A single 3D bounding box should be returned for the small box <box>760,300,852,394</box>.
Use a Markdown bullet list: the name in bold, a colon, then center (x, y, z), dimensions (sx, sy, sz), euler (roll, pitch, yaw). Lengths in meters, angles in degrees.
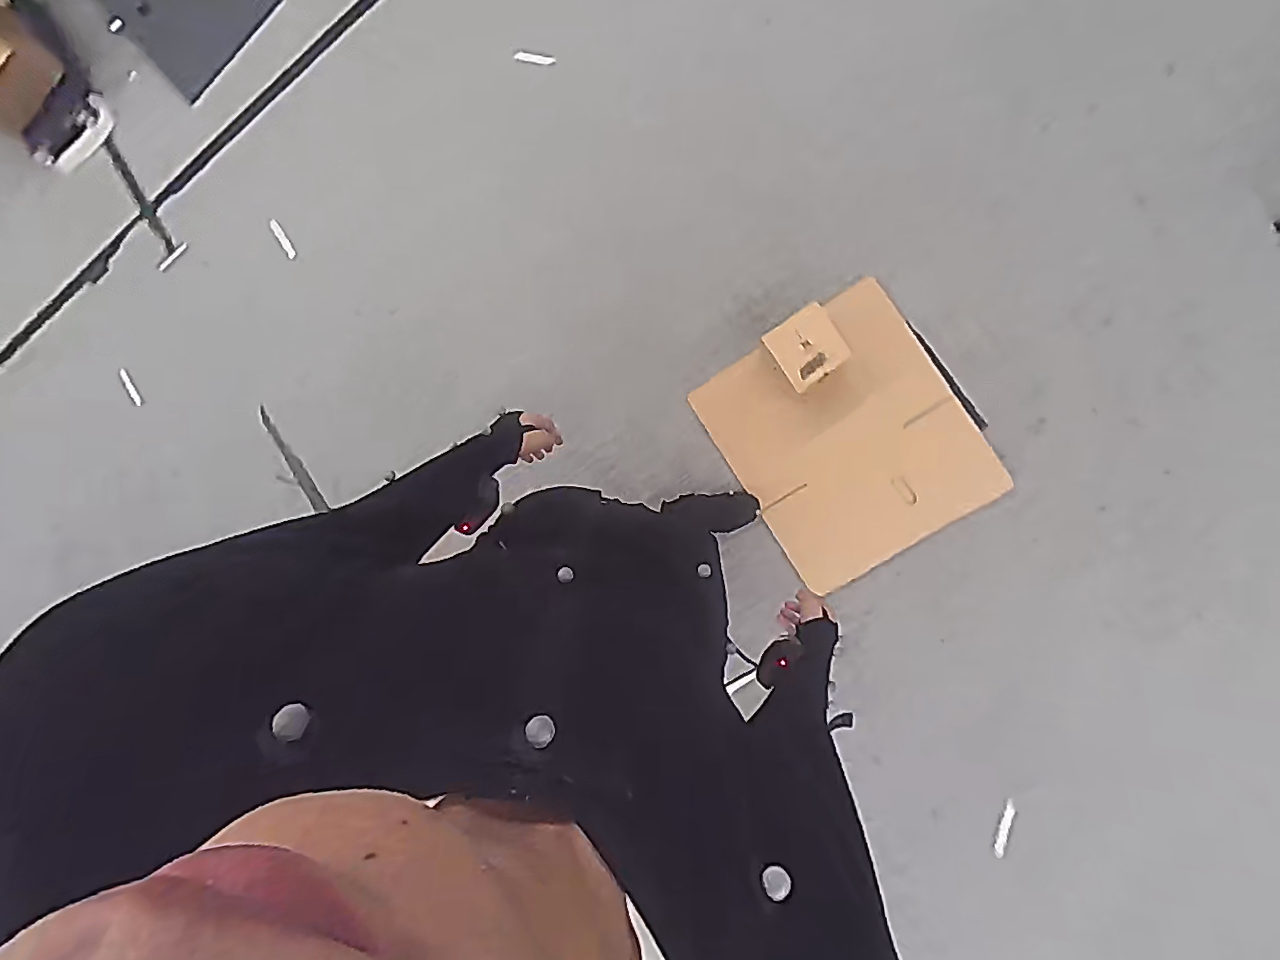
- **small box**: center (0.436, -0.344, 1.446), dimensions (0.168, 0.176, 0.179), euler (-32, 85, 9)
